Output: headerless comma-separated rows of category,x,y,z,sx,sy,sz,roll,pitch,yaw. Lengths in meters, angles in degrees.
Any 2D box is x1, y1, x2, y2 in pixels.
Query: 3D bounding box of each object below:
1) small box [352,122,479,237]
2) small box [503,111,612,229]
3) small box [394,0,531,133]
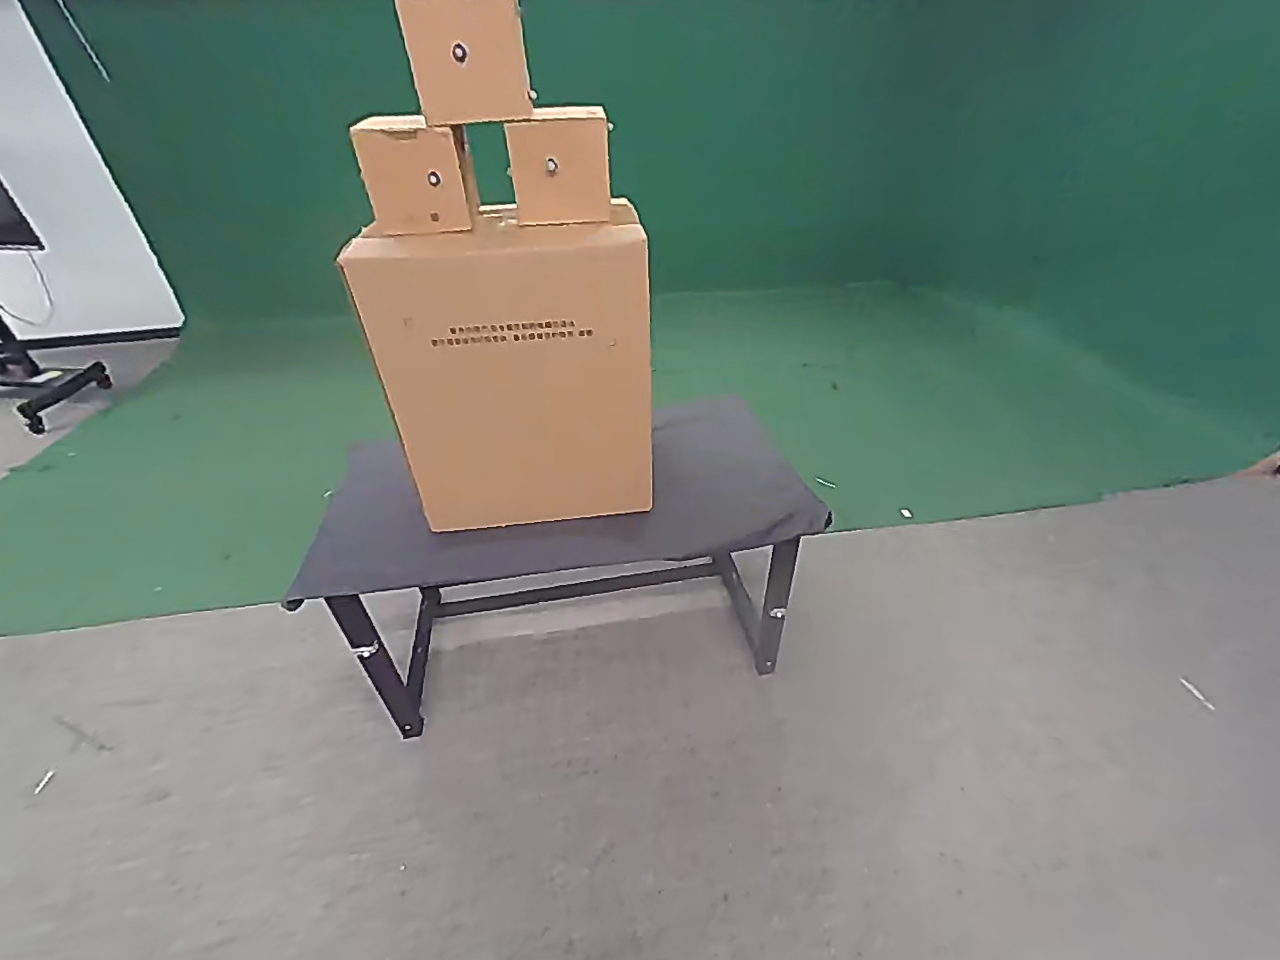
small box,-0.405,-0.561,1.011,0.168,0.176,0.179,-5,38,-6
small box,-0.150,-0.590,1.031,0.179,0.176,0.168,-6,40,-3
small box,-0.285,-0.703,0.916,0.179,0.176,0.168,-8,40,-4
